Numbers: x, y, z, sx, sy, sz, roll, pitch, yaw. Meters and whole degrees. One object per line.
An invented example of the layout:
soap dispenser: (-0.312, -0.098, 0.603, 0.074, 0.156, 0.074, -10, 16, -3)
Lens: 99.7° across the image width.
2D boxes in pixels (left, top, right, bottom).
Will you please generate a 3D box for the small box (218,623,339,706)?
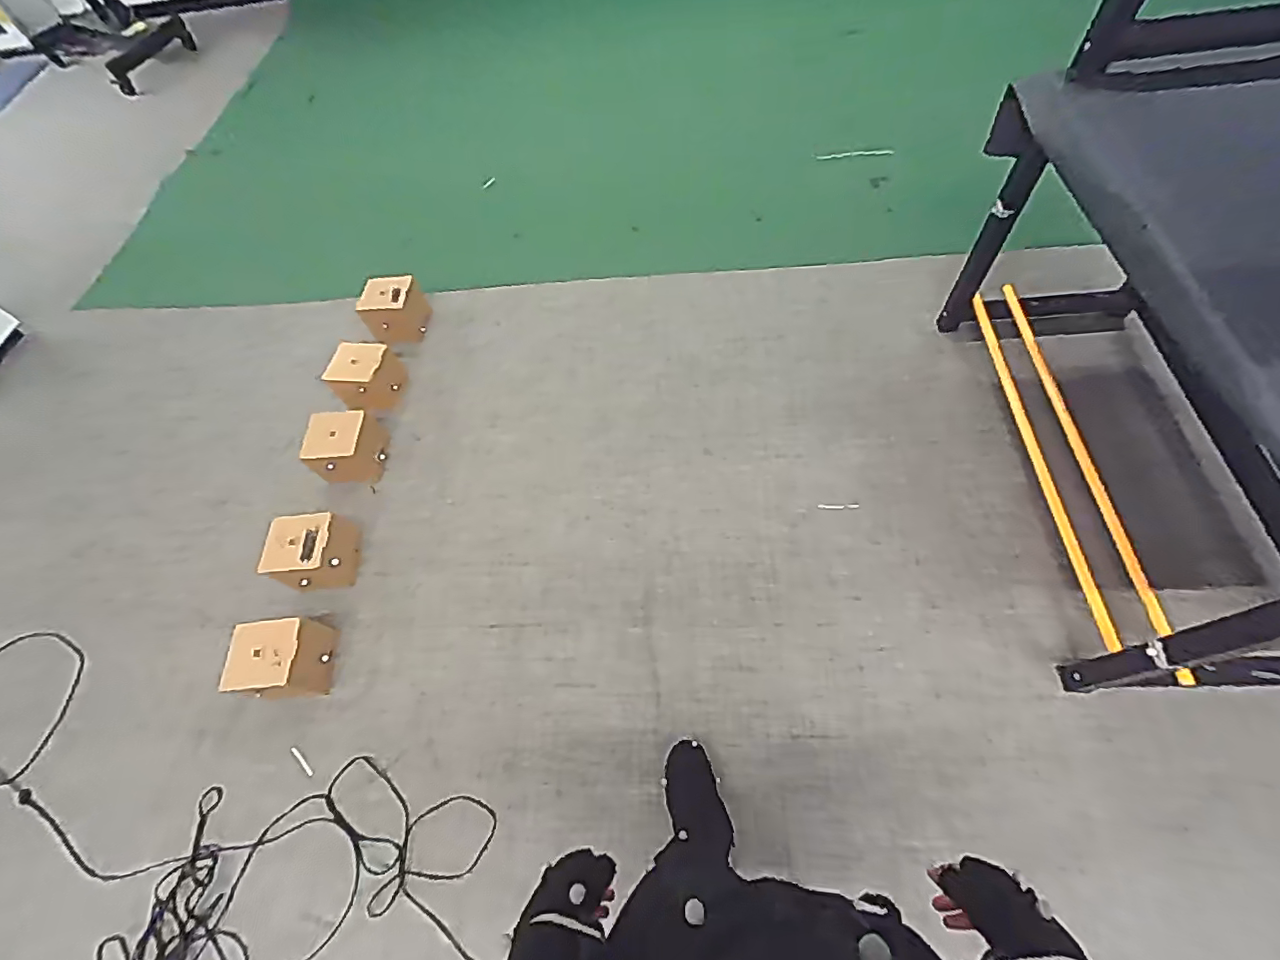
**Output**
small box: (-0.921, 0.480, 1.395, 0.179, 0.176, 0.168, -7, 61, 2)

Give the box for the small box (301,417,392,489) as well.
small box: (-0.924, -0.081, 1.718, 0.179, 0.176, 0.168, -3, 62, 3)

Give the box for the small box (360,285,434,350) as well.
small box: (-0.898, -0.604, 2.018, 0.179, 0.176, 0.168, -1, 60, 7)

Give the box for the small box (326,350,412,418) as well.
small box: (-0.927, -0.327, 1.862, 0.179, 0.176, 0.168, 4, 61, 9)
